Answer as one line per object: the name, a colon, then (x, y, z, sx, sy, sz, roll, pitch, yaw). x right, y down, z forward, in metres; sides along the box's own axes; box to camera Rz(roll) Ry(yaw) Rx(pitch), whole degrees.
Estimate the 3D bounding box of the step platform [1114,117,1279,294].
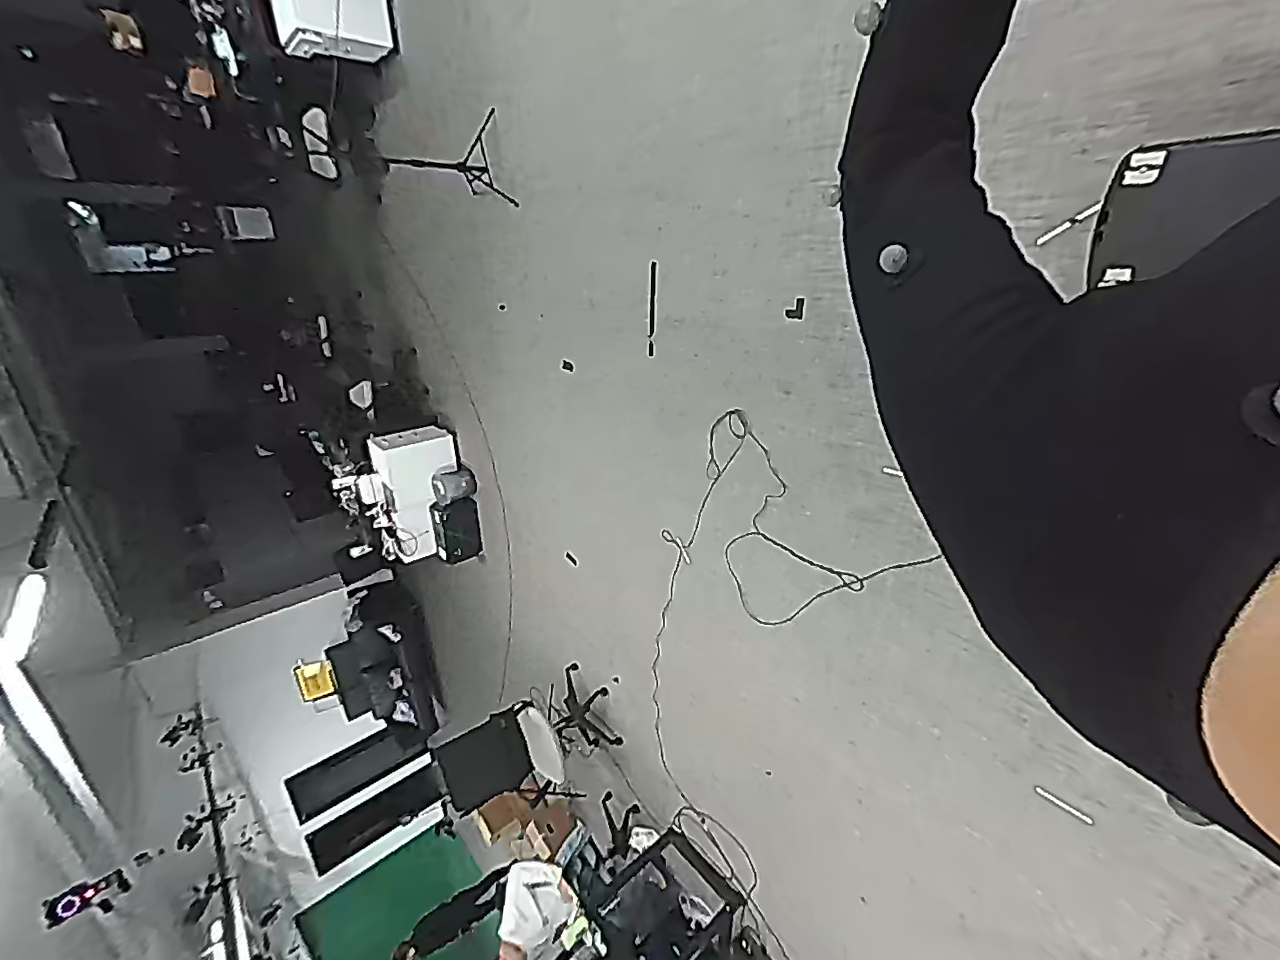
step platform: (1.228, -0.454, 0.879, 0.684, 0.204, 0.286, 21, 122, 44)
